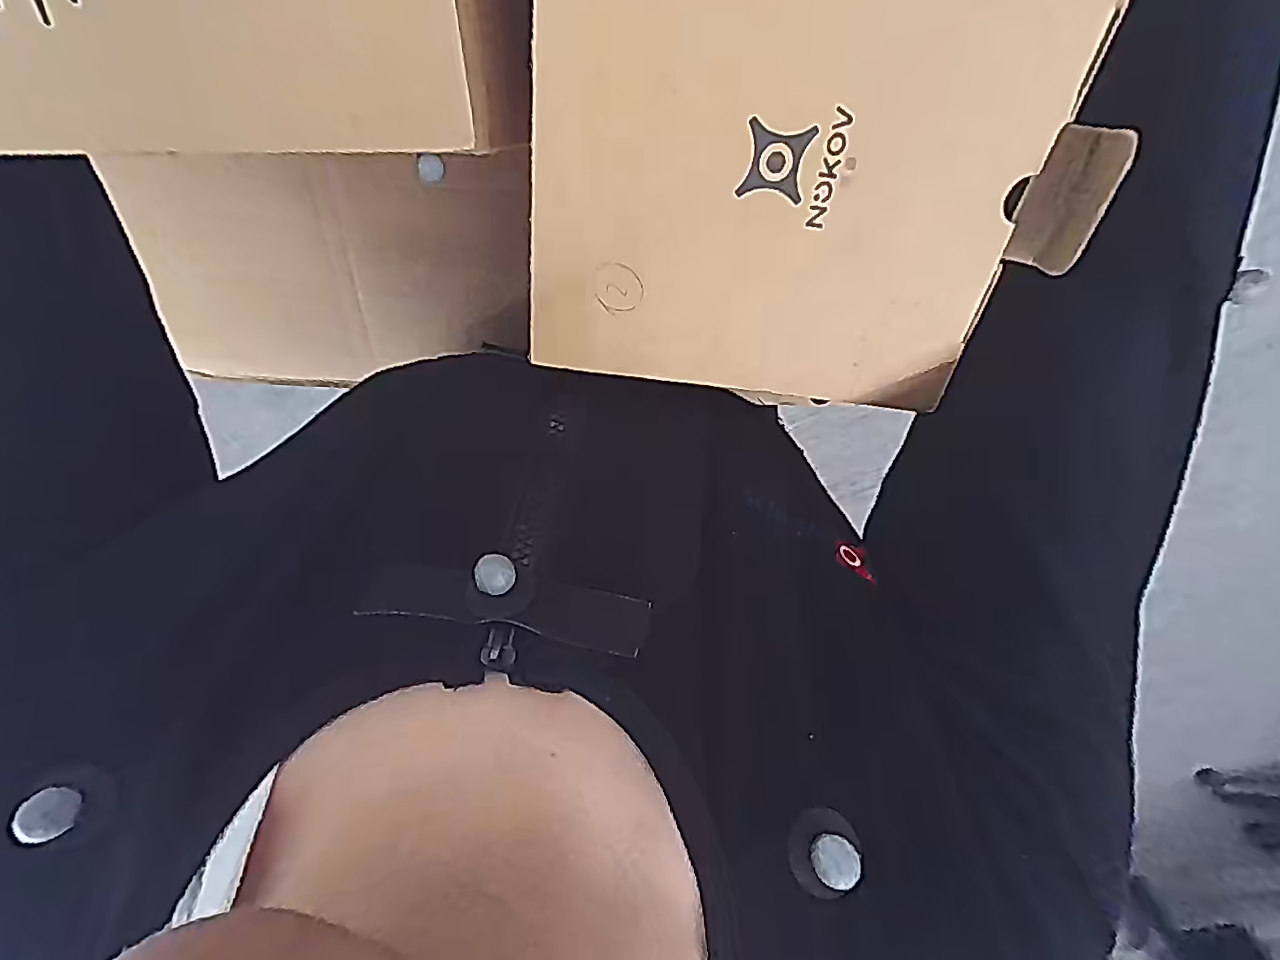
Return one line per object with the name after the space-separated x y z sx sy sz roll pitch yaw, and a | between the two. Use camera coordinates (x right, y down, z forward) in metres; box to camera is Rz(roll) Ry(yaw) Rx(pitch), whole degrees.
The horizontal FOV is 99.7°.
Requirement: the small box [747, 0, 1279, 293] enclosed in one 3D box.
0.159 -0.196 0.201 0.179 0.176 0.168 16 129 -11 | small box
